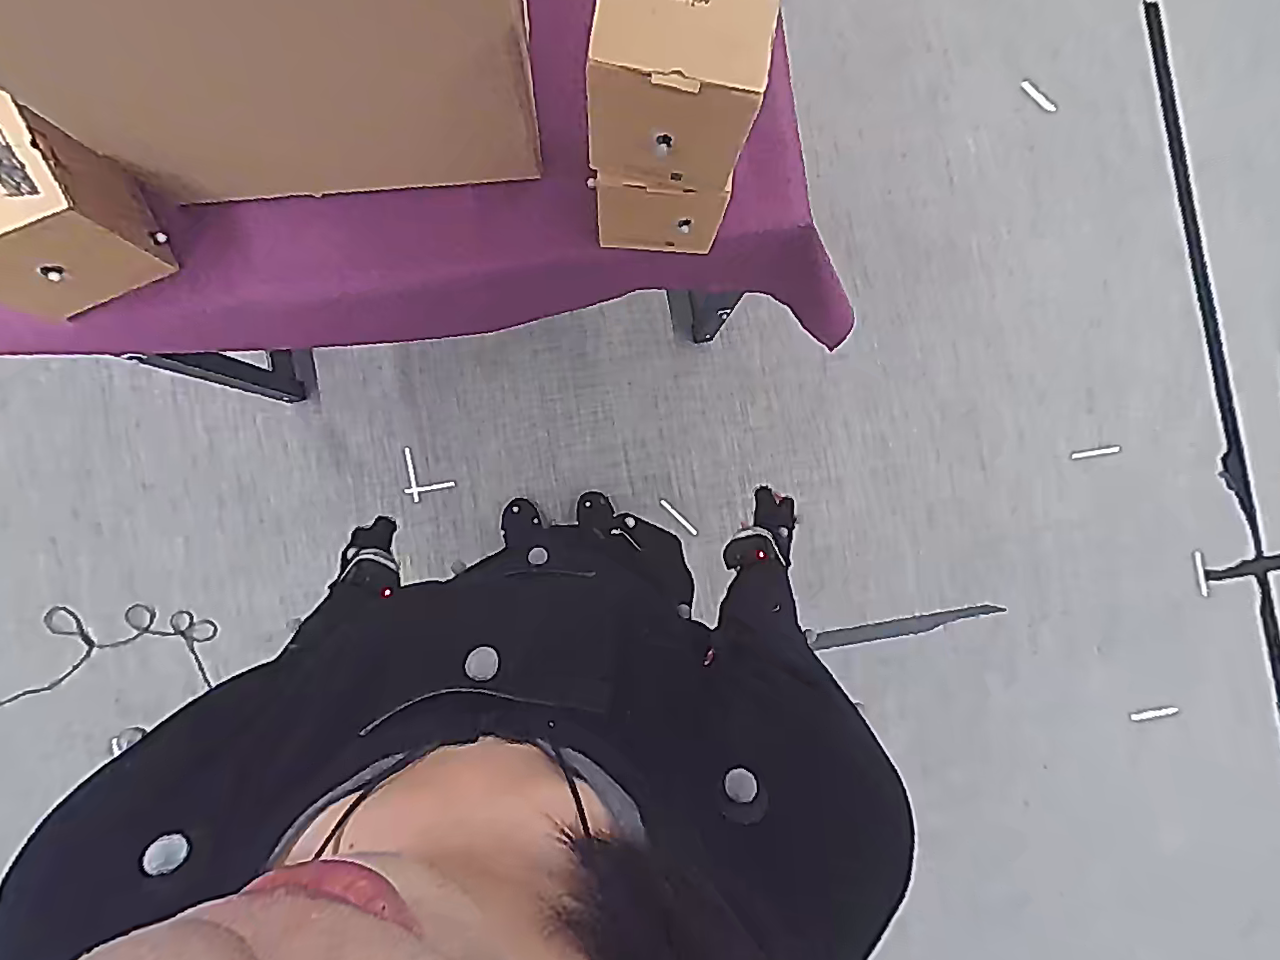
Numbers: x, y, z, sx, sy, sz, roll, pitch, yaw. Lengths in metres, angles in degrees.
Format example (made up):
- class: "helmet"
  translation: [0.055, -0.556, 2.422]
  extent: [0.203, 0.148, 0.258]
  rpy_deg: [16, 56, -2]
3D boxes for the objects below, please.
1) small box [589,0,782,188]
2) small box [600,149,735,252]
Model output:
- class: "small box"
  translation: [0.045, -0.445, 0.571]
  extent: [0.168, 0.176, 0.179]
  rpy_deg: [10, 88, -3]
- class: "small box"
  translation: [0.033, -0.432, 0.734]
  extent: [0.168, 0.176, 0.179]
  rpy_deg: [3, 87, -4]
